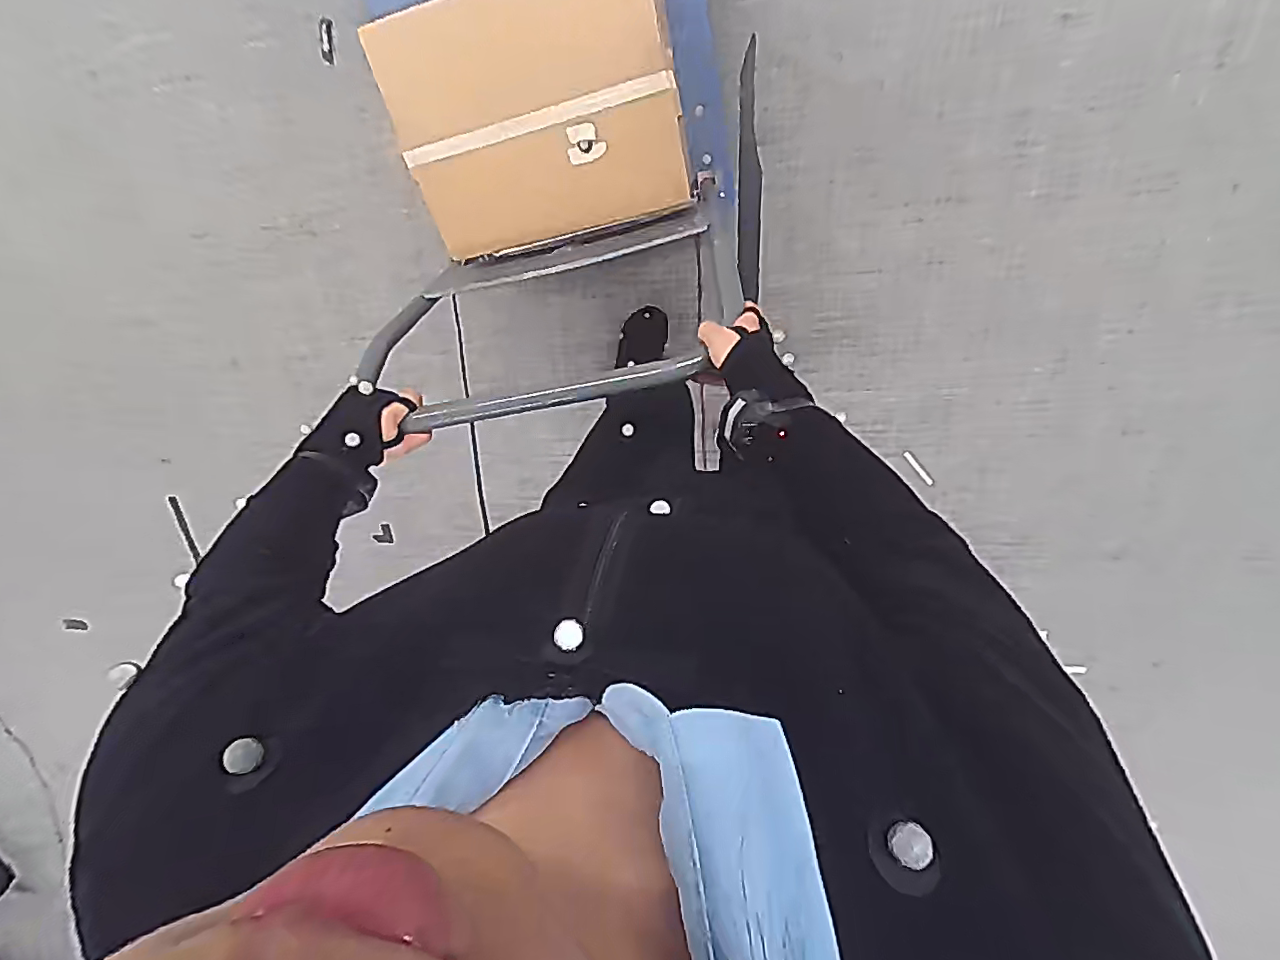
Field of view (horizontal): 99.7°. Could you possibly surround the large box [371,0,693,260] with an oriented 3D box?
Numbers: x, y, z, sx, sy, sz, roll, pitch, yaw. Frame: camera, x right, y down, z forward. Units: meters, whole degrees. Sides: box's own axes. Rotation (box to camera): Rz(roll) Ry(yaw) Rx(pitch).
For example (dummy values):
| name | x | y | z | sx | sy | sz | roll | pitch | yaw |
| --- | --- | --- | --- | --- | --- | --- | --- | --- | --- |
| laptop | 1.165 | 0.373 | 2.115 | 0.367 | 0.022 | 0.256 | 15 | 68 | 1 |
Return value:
| name | x | y | z | sx | sy | sz | roll | pitch | yaw |
| --- | --- | --- | --- | --- | --- | --- | --- | --- | --- |
| large box | -0.137 | -0.605 | 0.906 | 0.408 | 0.320 | 0.320 | -9 | 125 | 11 |
